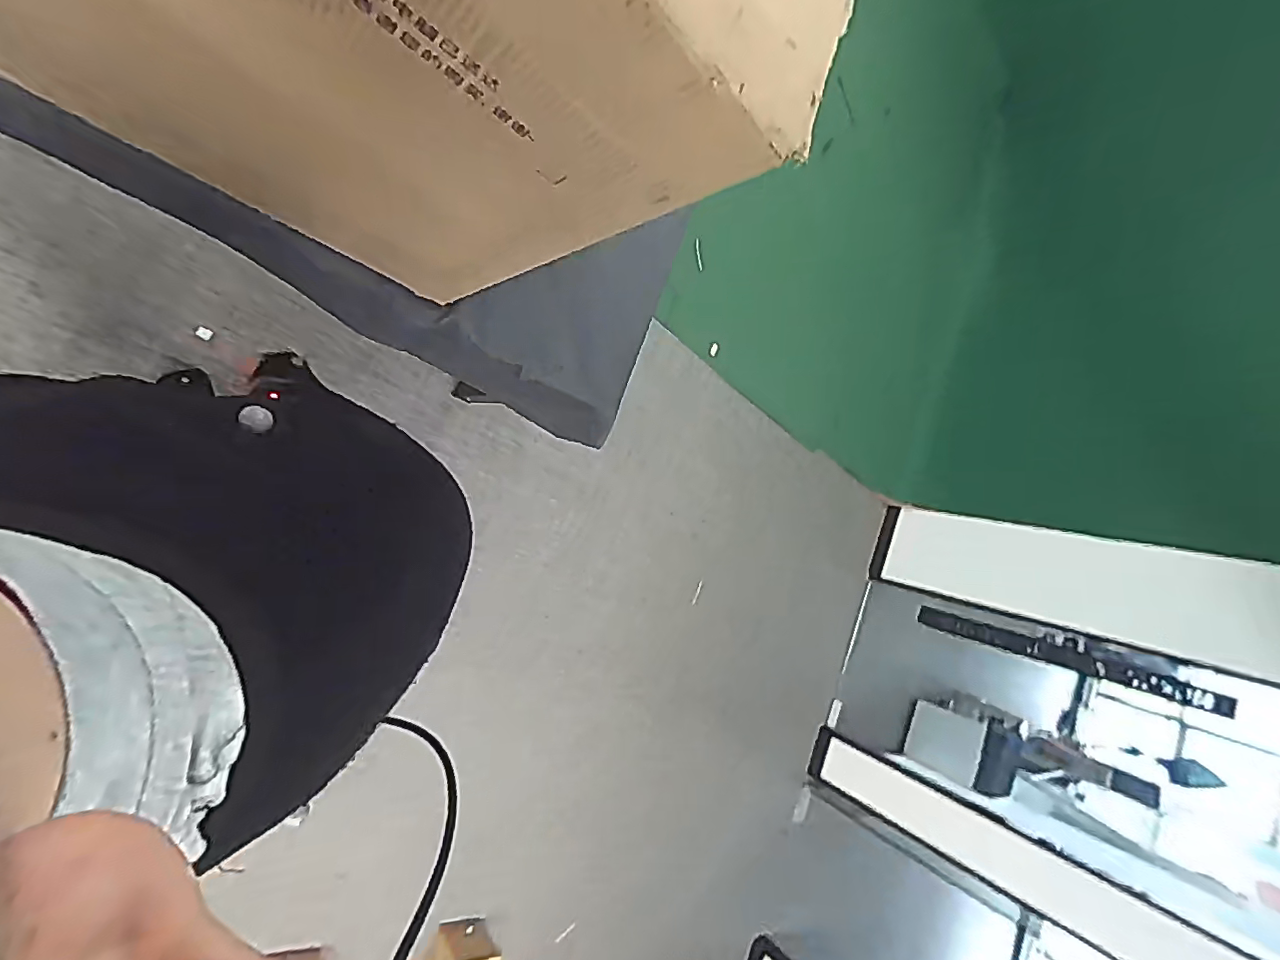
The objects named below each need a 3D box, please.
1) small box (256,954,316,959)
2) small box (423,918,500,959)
[{"bbox_3d":[-0.952,1.385,1.409,0.168,0.176,0.179,31,76,-38],"label":"small box"},{"bbox_3d":[-0.586,1.567,1.736,0.168,0.176,0.179,28,78,-39],"label":"small box"}]
